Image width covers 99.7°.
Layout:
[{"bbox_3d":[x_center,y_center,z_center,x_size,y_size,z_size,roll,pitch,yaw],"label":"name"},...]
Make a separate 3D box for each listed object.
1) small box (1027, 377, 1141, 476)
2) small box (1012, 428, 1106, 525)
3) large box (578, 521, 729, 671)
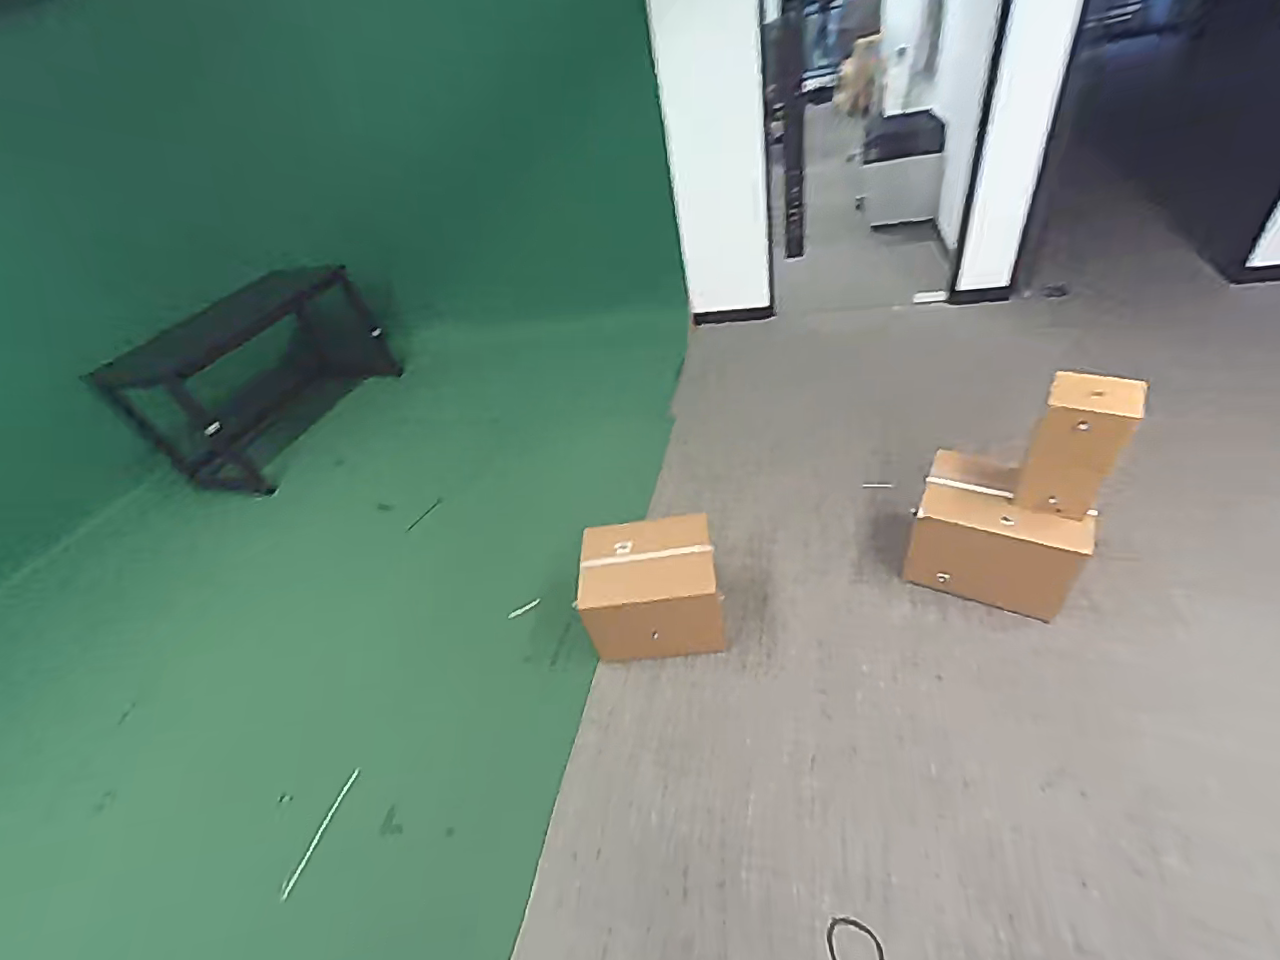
[{"bbox_3d":[1.097,-0.132,1.342,0.179,0.176,0.168,16,47,32],"label":"small box"},{"bbox_3d":[1.119,-0.011,1.449,0.168,0.176,0.179,15,47,31],"label":"small box"},{"bbox_3d":[0.048,0.372,1.710,0.408,0.320,0.320,-10,39,8],"label":"large box"}]
